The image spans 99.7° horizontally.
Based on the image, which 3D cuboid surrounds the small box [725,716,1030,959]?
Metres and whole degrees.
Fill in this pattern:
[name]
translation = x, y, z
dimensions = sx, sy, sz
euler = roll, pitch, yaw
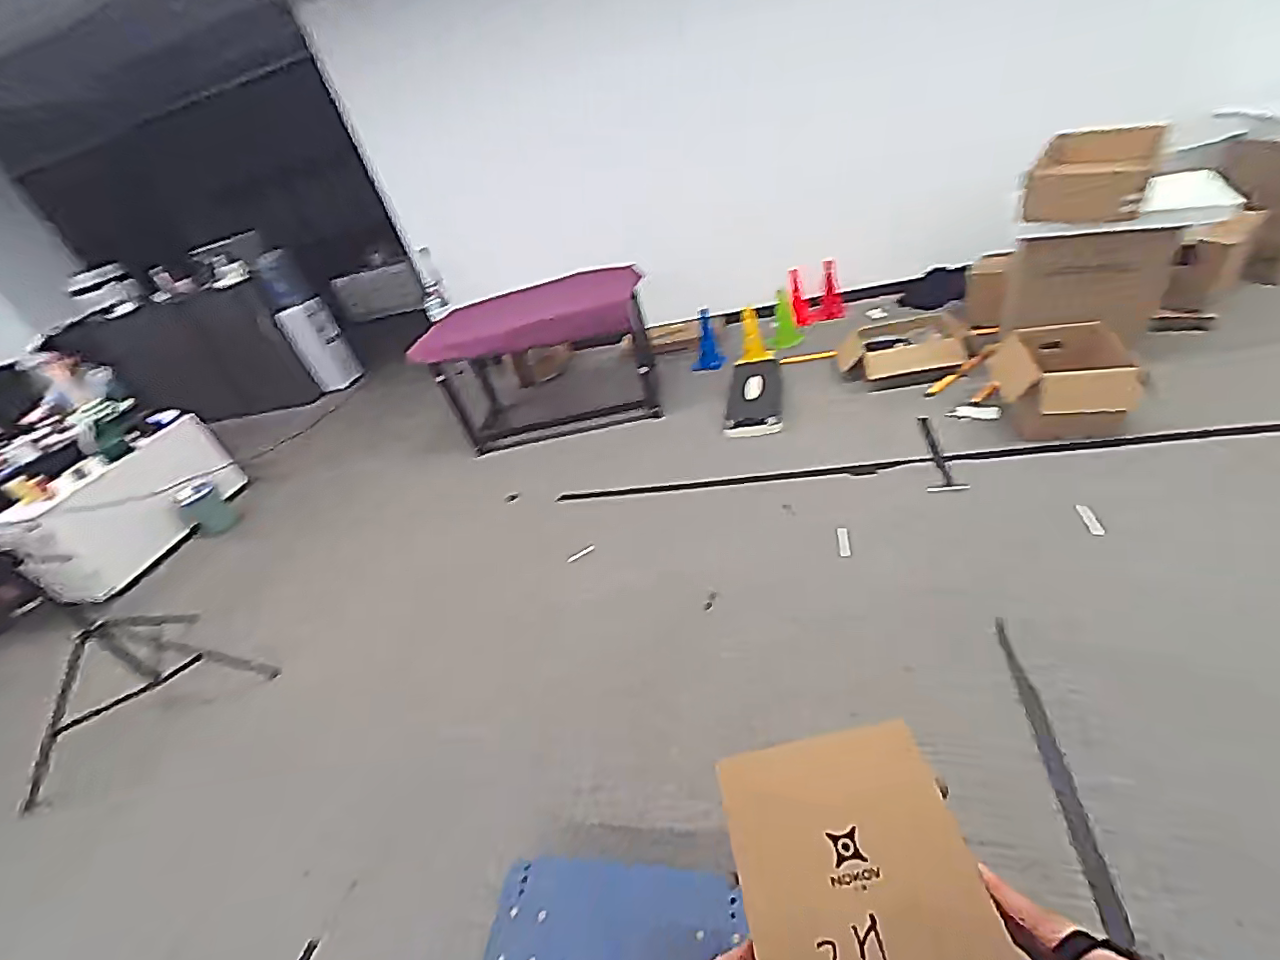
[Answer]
[small box]
translation = 0.175, 0.327, 0.444
dimensions = 0.168, 0.176, 0.179
euler = -14, 43, 5
